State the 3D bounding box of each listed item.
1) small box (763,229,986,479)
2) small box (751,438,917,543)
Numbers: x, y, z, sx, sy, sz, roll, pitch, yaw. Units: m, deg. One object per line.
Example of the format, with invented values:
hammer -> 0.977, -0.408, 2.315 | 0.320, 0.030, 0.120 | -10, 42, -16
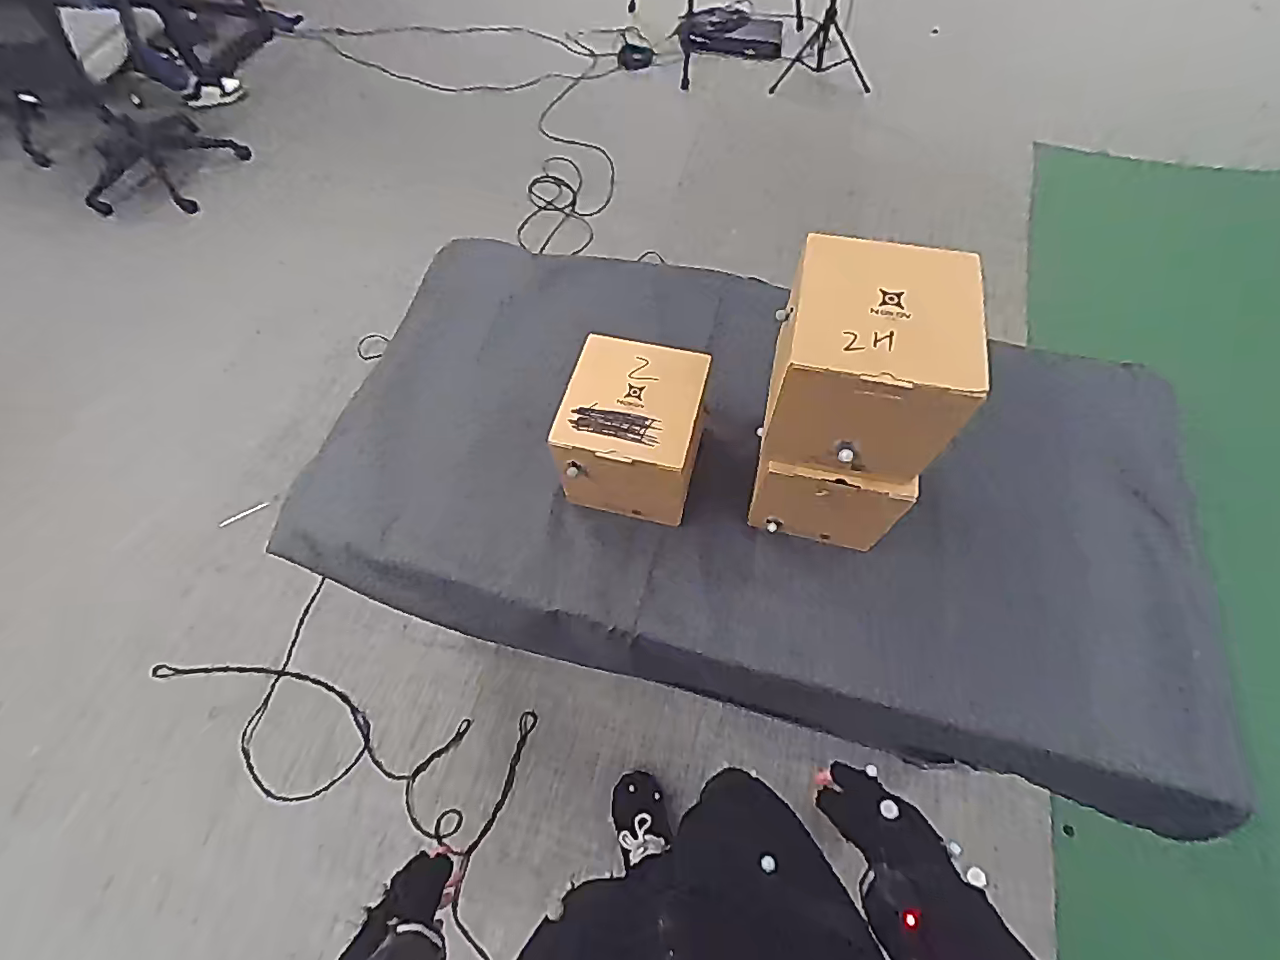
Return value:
small box -> 0.230, -0.125, 0.565 | 0.168, 0.176, 0.179 | 11, 65, 9
small box -> 0.246, -0.036, 0.703 | 0.168, 0.176, 0.179 | 12, 64, 9
